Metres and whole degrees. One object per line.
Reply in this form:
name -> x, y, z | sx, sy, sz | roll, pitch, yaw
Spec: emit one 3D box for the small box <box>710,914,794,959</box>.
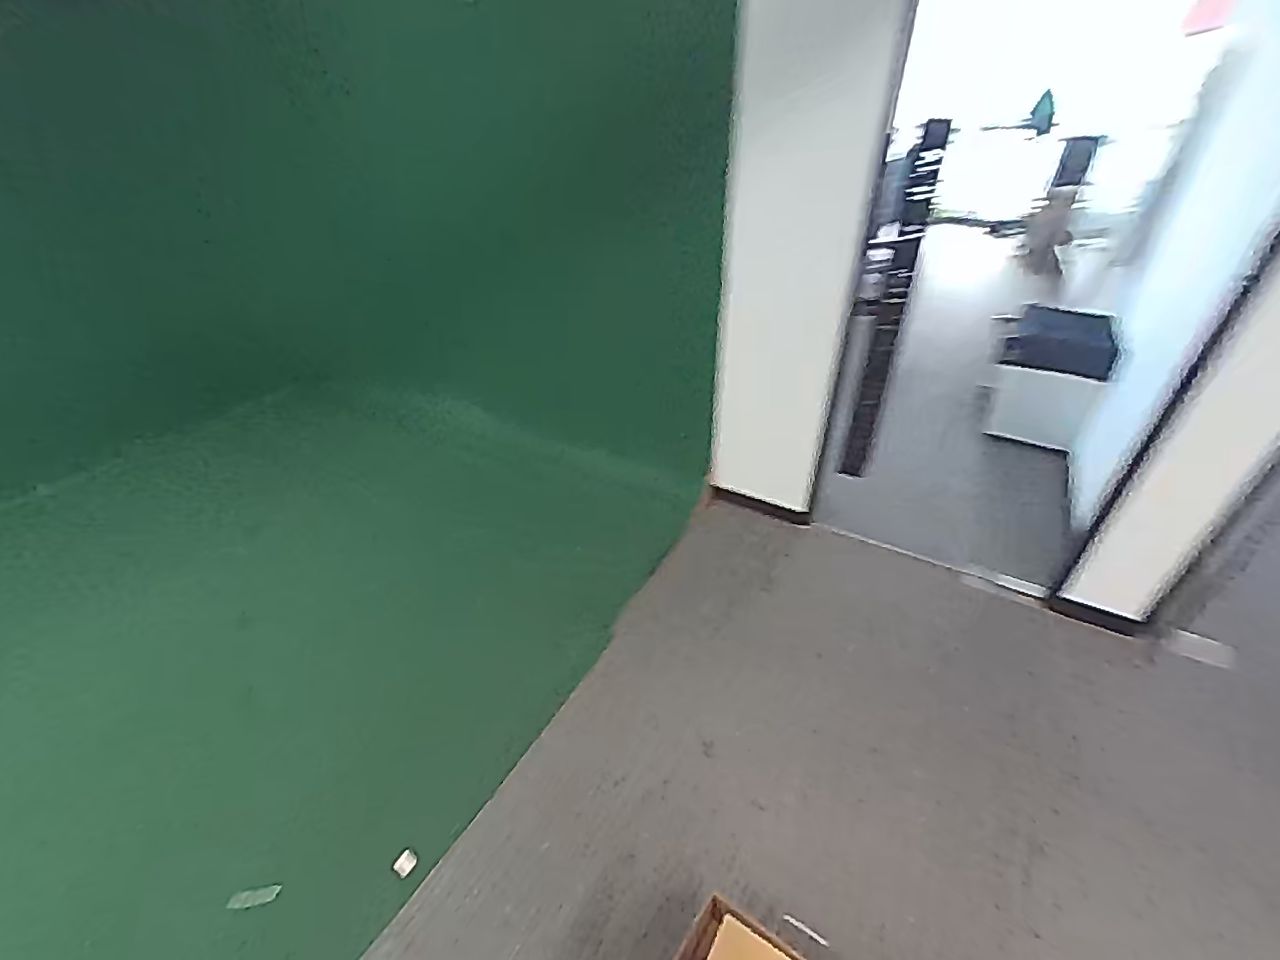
small box -> 0.170, 0.854, 0.854 | 0.168, 0.176, 0.179 | 20, 42, 27
